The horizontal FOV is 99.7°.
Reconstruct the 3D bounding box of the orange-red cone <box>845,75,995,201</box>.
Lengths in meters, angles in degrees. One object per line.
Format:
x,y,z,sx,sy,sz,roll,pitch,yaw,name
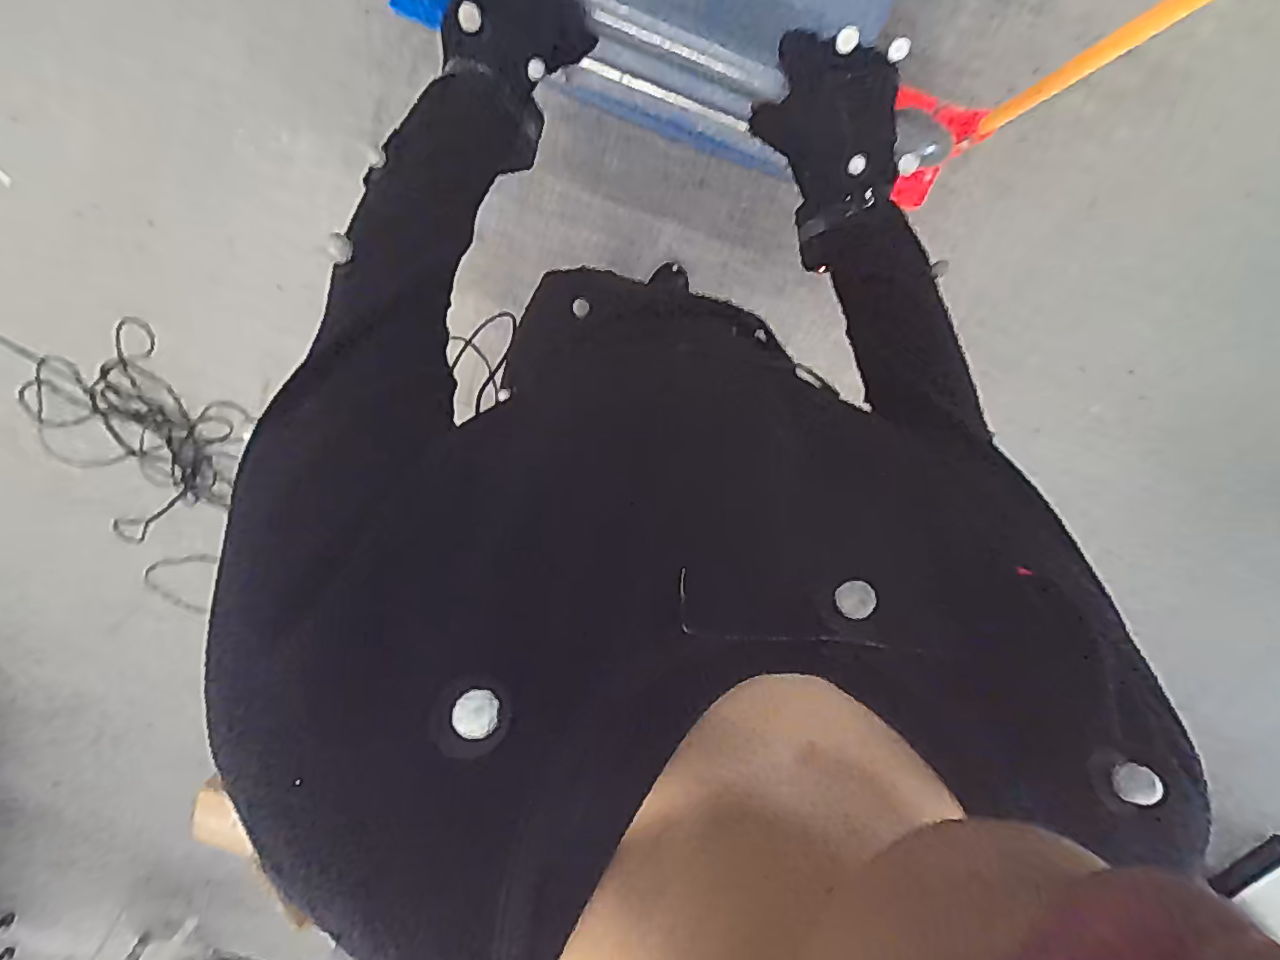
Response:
0.560,-0.665,1.024,0.199,0.360,0.198,19,116,-5,orange-red cone
